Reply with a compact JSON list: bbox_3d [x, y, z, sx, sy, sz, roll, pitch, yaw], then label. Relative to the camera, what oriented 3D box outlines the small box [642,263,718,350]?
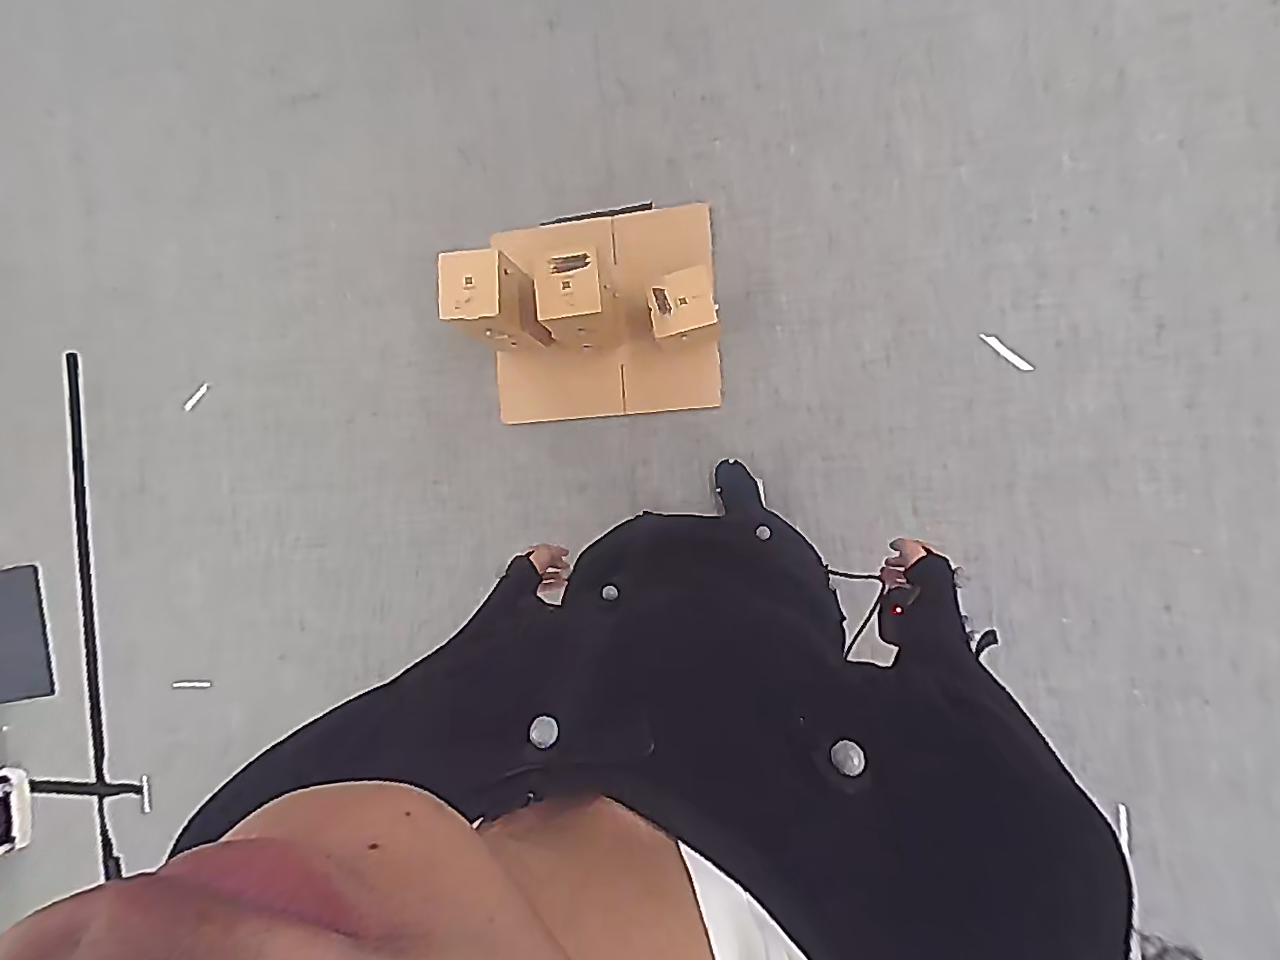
[{"bbox_3d":[0.119,-0.480,1.523,0.179,0.176,0.168,-13,89,9],"label":"small box"}]

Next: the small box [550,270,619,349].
[{"bbox_3d":[-0.156,-0.488,1.568,0.168,0.176,0.179,0,91,9],"label":"small box"}]

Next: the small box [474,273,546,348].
[{"bbox_3d":[-0.383,-0.494,1.604,0.168,0.176,0.179,-1,91,10],"label":"small box"}]

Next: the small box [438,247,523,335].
[{"bbox_3d":[-0.421,-0.499,1.443,0.168,0.176,0.179,-1,91,10],"label":"small box"}]
